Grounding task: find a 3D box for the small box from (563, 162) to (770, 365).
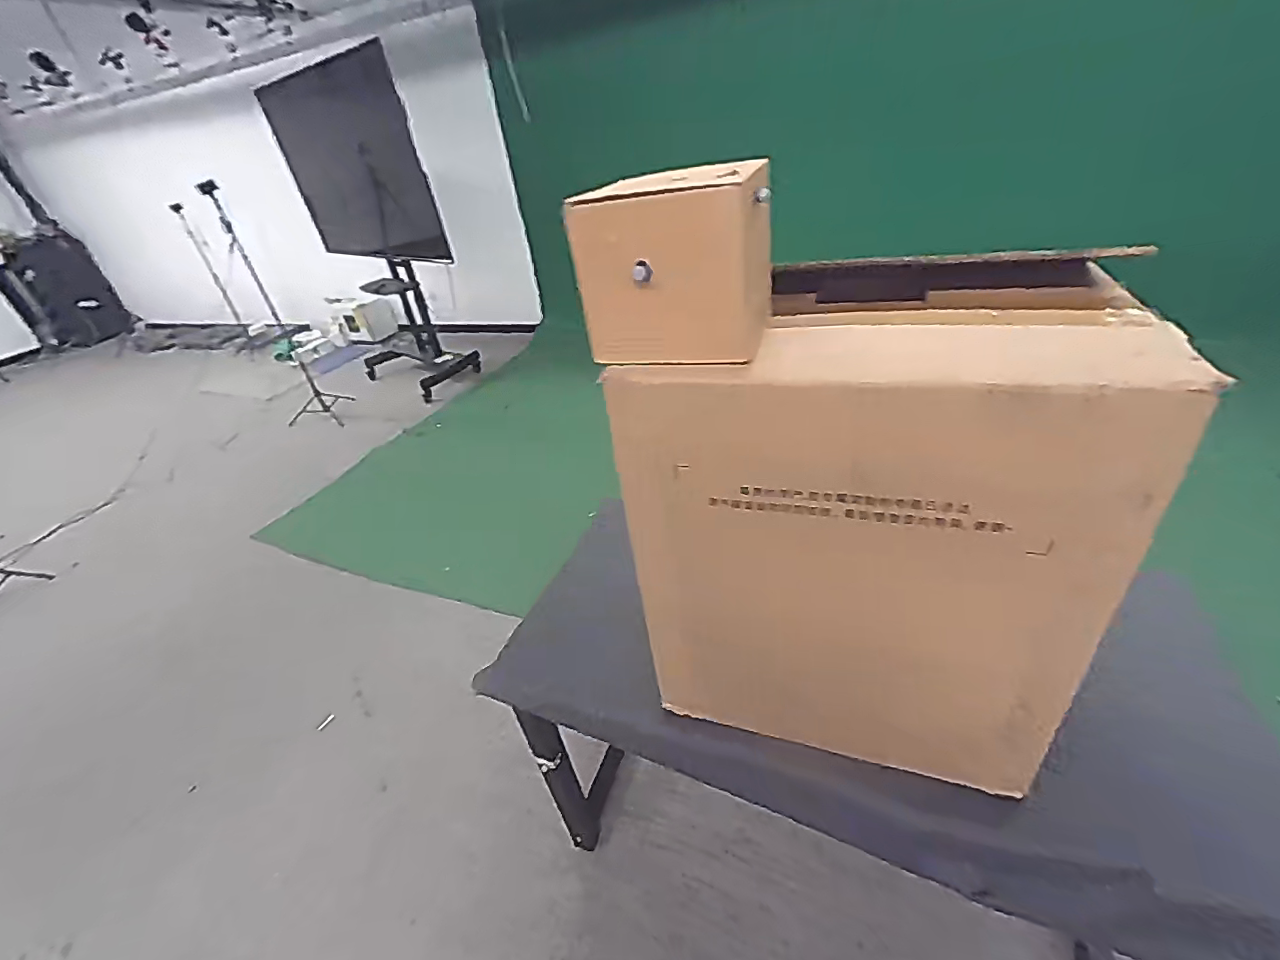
[{"bbox_3d":[0.043,-0.235,0.599,0.179,0.176,0.168,4,37,21],"label":"small box"}]
